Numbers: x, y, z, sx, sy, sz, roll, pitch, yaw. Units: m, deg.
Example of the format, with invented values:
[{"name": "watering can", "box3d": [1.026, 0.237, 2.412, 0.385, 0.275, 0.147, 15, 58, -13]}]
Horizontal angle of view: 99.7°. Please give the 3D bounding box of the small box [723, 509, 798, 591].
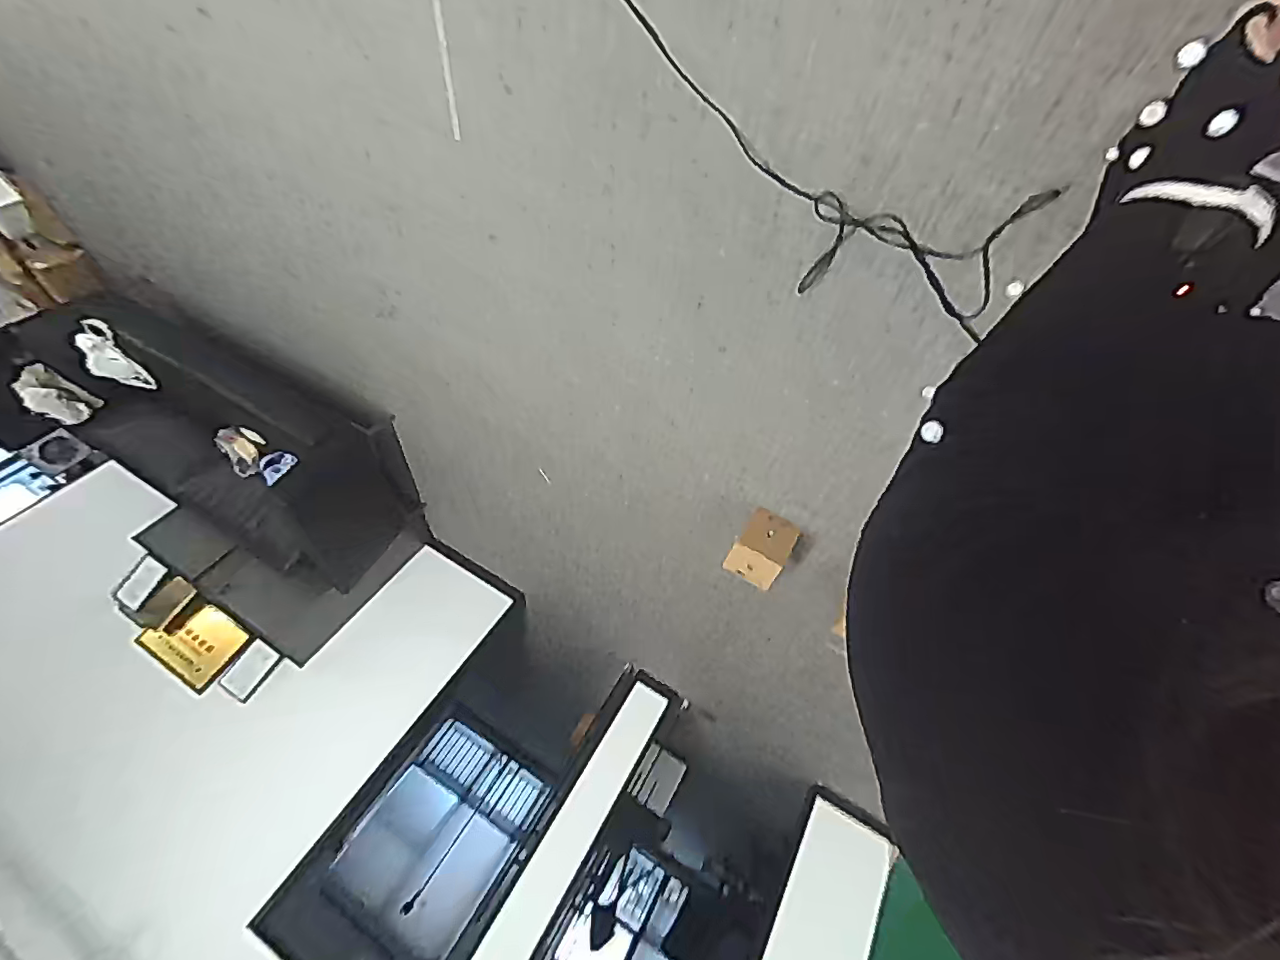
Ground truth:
[{"name": "small box", "box3d": [0.404, 0.228, 1.797, 0.168, 0.176, 0.179, 31, 144, 12]}]
